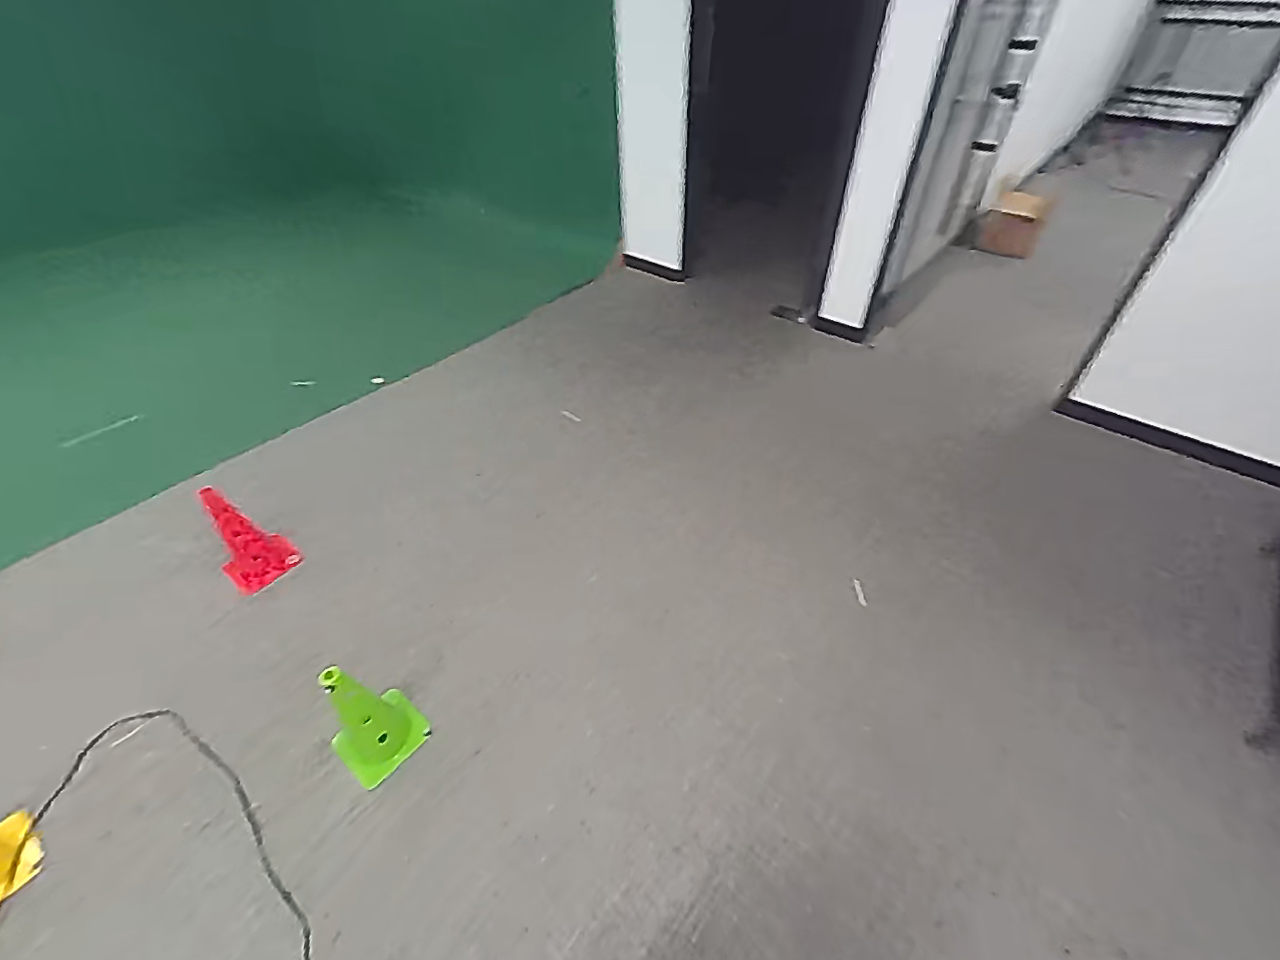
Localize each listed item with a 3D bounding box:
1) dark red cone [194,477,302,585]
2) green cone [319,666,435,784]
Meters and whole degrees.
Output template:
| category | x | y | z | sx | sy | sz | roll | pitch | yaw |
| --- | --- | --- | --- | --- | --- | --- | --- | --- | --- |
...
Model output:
| category | x | y | z | sx | sy | sz | roll | pitch | yaw |
| --- | --- | --- | --- | --- | --- | --- | --- | --- | --- |
| dark red cone | -1.305 | 0.143 | 1.751 | 0.201 | 0.394 | 0.202 | 25 | 50 | 27 |
| green cone | -0.691 | 0.557 | 1.339 | 0.200 | 0.368 | 0.202 | 29 | 53 | 29 |
